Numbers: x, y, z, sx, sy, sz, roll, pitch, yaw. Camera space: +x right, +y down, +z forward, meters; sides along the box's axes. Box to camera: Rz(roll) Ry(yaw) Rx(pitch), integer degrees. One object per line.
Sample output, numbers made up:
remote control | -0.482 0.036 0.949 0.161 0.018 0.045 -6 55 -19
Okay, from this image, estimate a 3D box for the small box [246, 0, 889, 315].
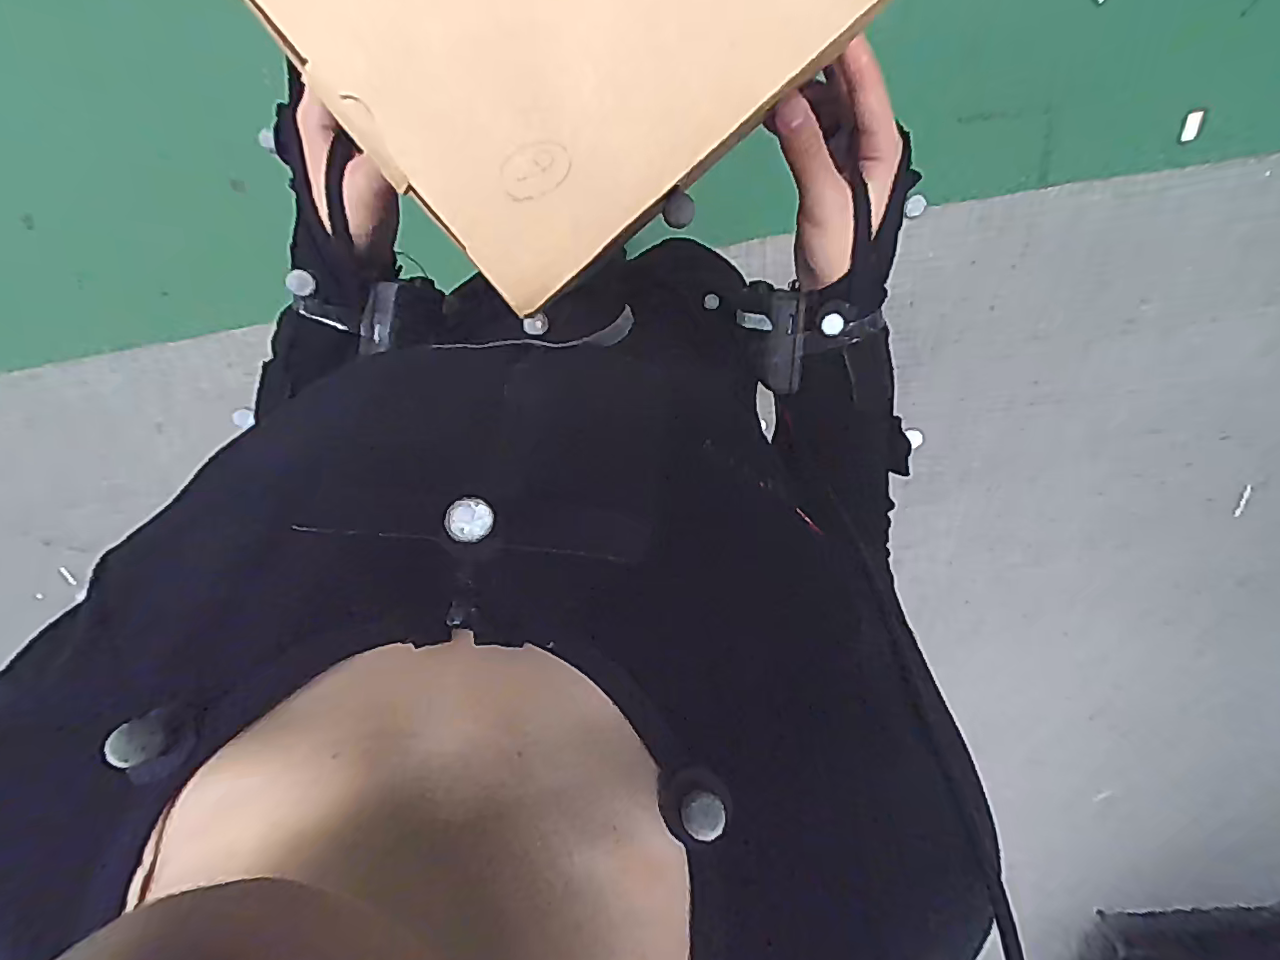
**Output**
small box | -0.024 -0.199 0.231 0.179 0.176 0.168 -35 108 18
